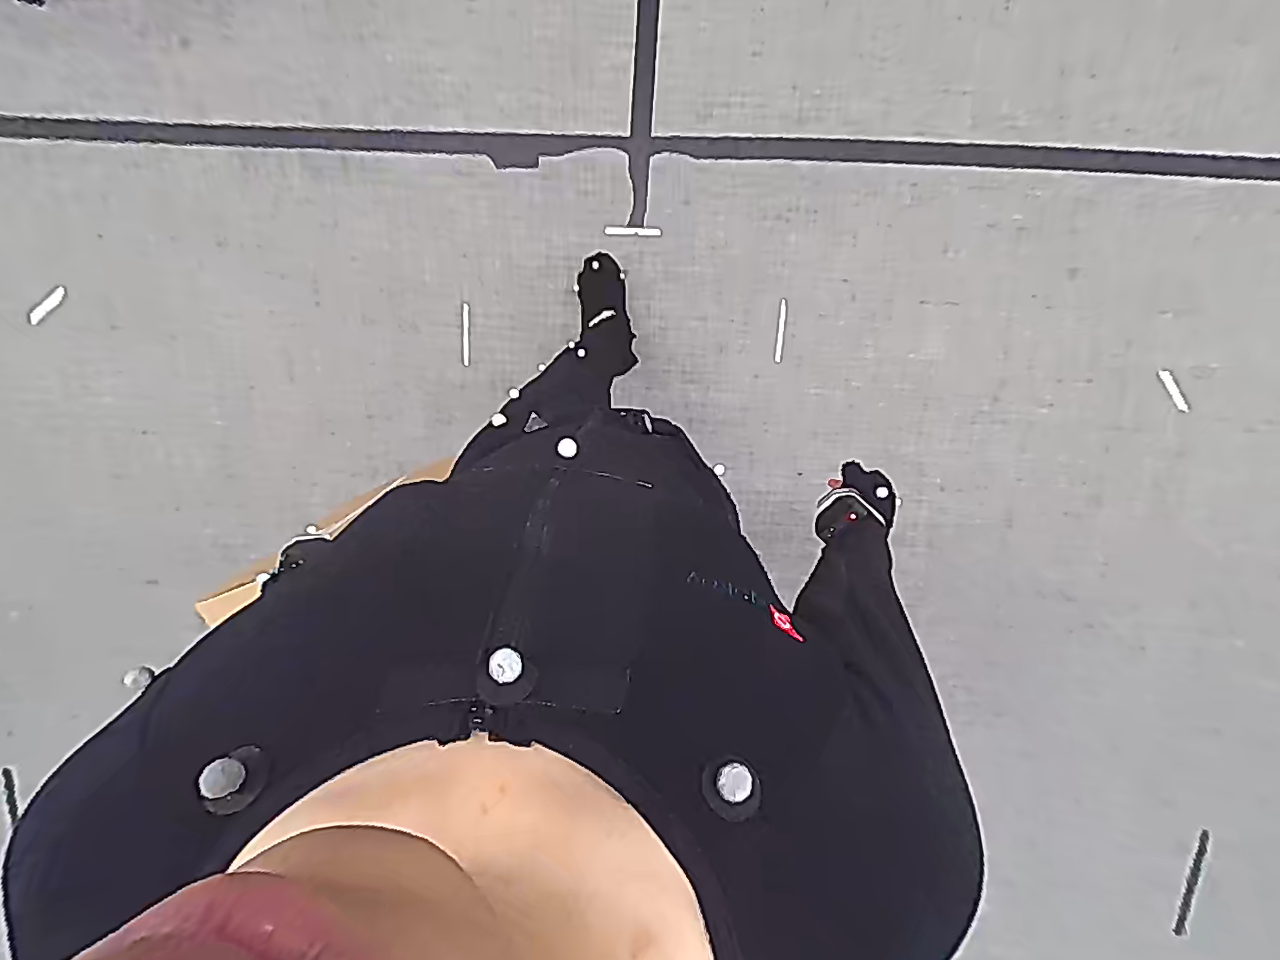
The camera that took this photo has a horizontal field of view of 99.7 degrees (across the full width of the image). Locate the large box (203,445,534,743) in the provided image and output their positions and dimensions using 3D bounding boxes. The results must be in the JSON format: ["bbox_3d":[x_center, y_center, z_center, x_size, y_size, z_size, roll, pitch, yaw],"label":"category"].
[{"bbox_3d":[-0.424,0.176,0.974,0.320,0.408,0.320,-20,108,9],"label":"large box"}]
